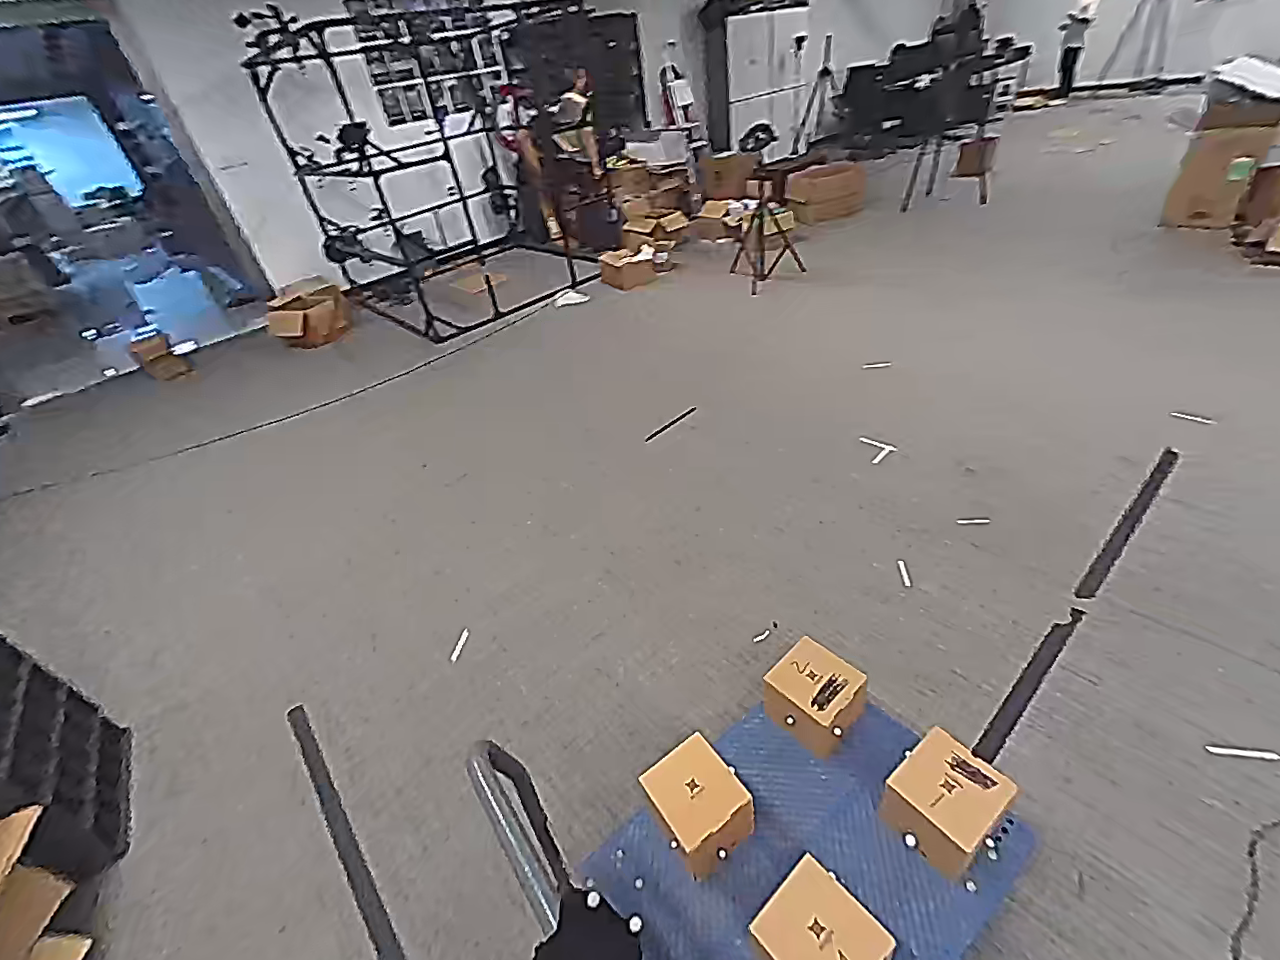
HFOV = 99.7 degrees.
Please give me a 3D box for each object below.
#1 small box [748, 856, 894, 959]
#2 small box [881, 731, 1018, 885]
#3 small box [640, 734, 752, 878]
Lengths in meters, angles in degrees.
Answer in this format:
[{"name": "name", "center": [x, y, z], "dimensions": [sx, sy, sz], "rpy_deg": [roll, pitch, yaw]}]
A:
[{"name": "small box", "center": [0.308, 0.820, 0.942], "dimensions": [0.168, 0.176, 0.179], "rpy_deg": [-32, 41, -26]}, {"name": "small box", "center": [0.609, 0.656, 1.086], "dimensions": [0.179, 0.176, 0.168], "rpy_deg": [-30, 41, -23]}, {"name": "small box", "center": [0.120, 0.696, 1.156], "dimensions": [0.168, 0.176, 0.179], "rpy_deg": [-28, 41, -22]}]
